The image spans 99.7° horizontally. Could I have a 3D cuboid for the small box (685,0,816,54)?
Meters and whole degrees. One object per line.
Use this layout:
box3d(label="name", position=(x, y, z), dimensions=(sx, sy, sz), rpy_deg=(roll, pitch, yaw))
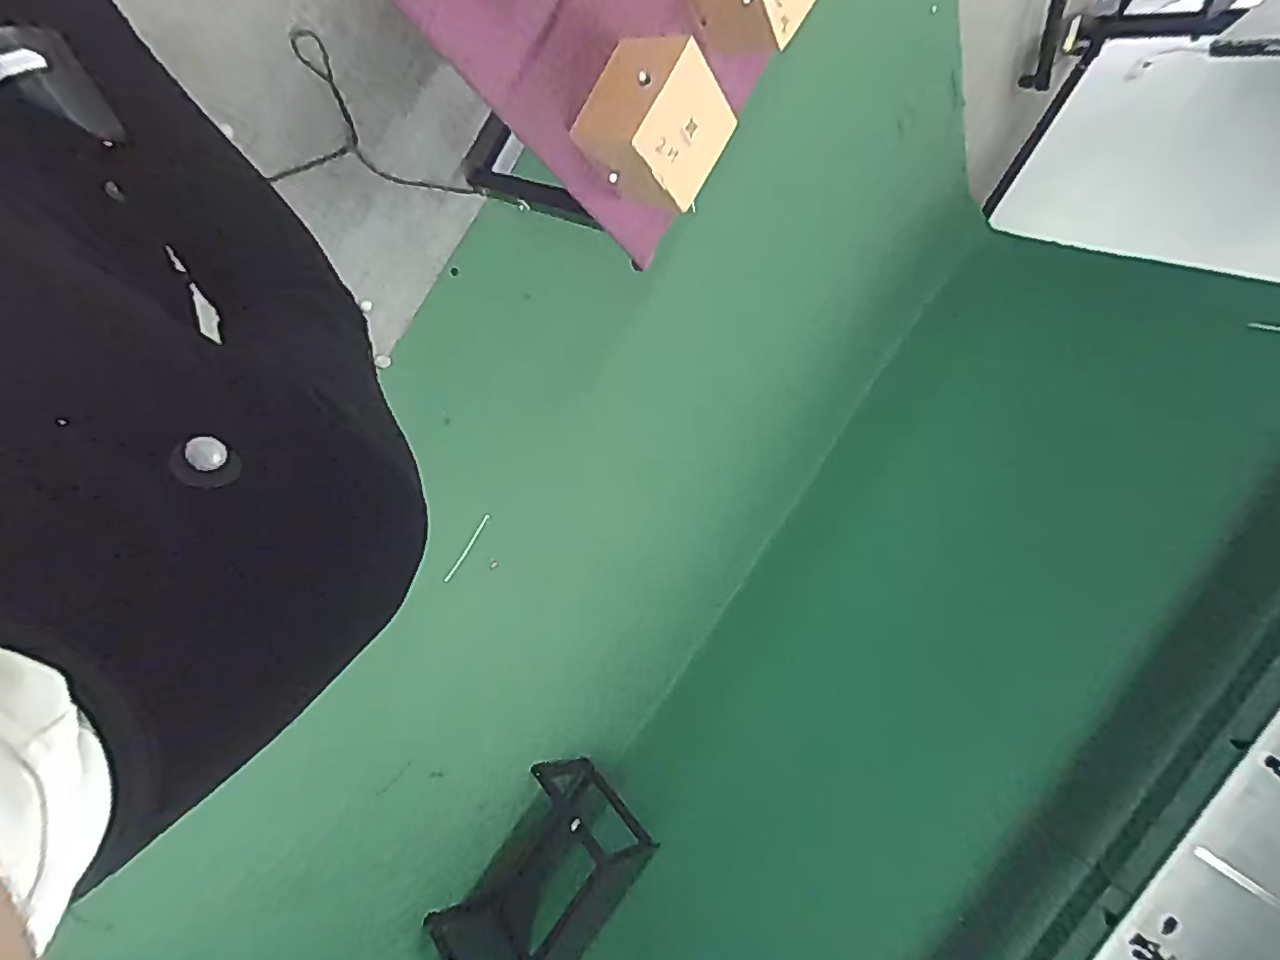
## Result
box3d(label="small box", position=(0.186, -0.842, 0.879), dimensions=(0.179, 0.176, 0.168), rpy_deg=(-57, 143, 2))

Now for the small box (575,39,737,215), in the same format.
box3d(label="small box", position=(0.023, -0.579, 0.894), dimensions=(0.168, 0.176, 0.179), rpy_deg=(26, 97, -51))
